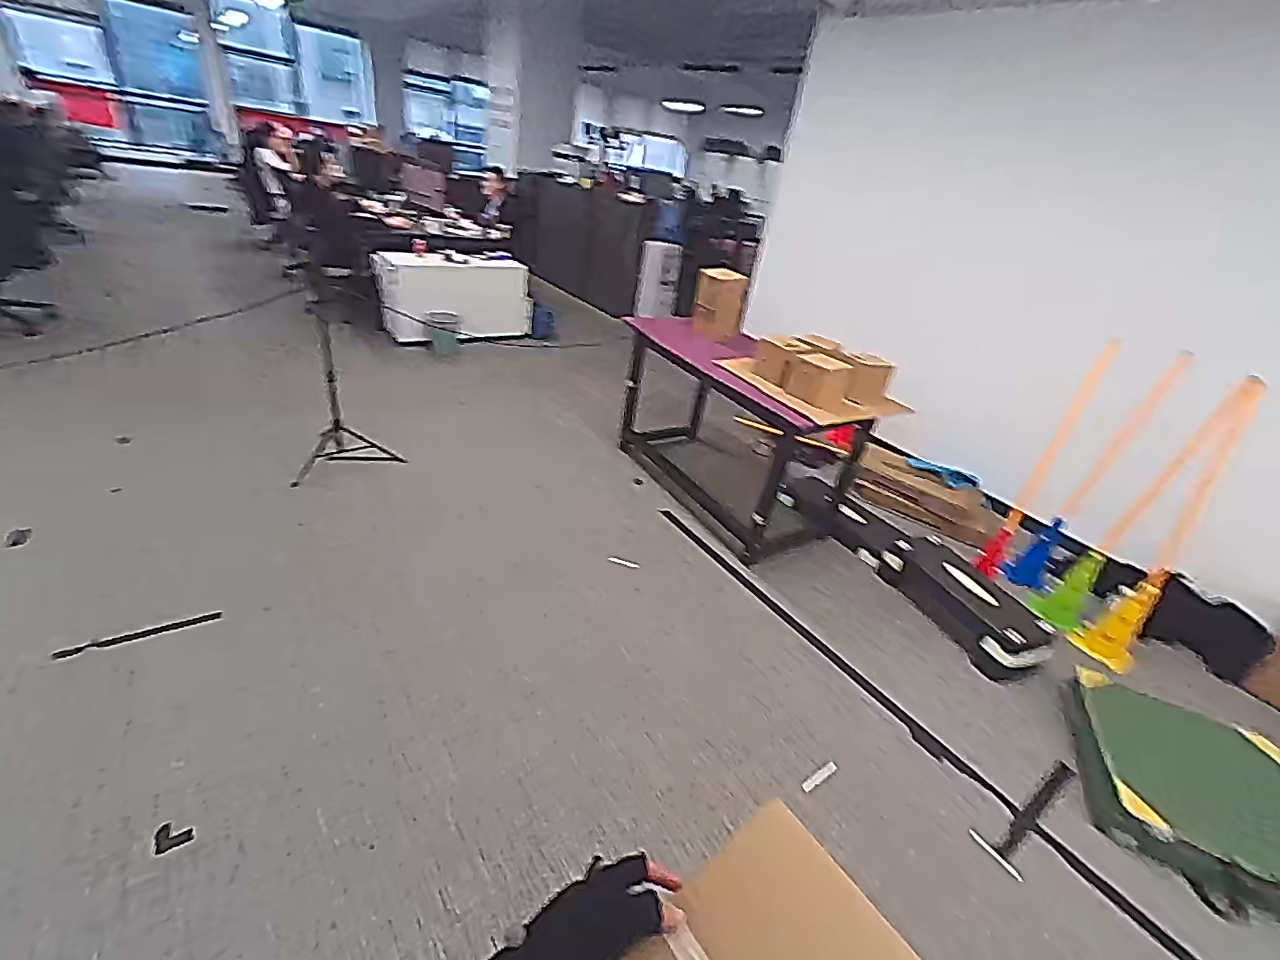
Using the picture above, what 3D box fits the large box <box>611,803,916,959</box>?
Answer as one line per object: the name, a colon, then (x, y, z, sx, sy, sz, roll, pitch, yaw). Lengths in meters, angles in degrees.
large box: (0.130, 0.606, 0.472, 0.320, 0.320, 0.408, -24, 48, -31)
